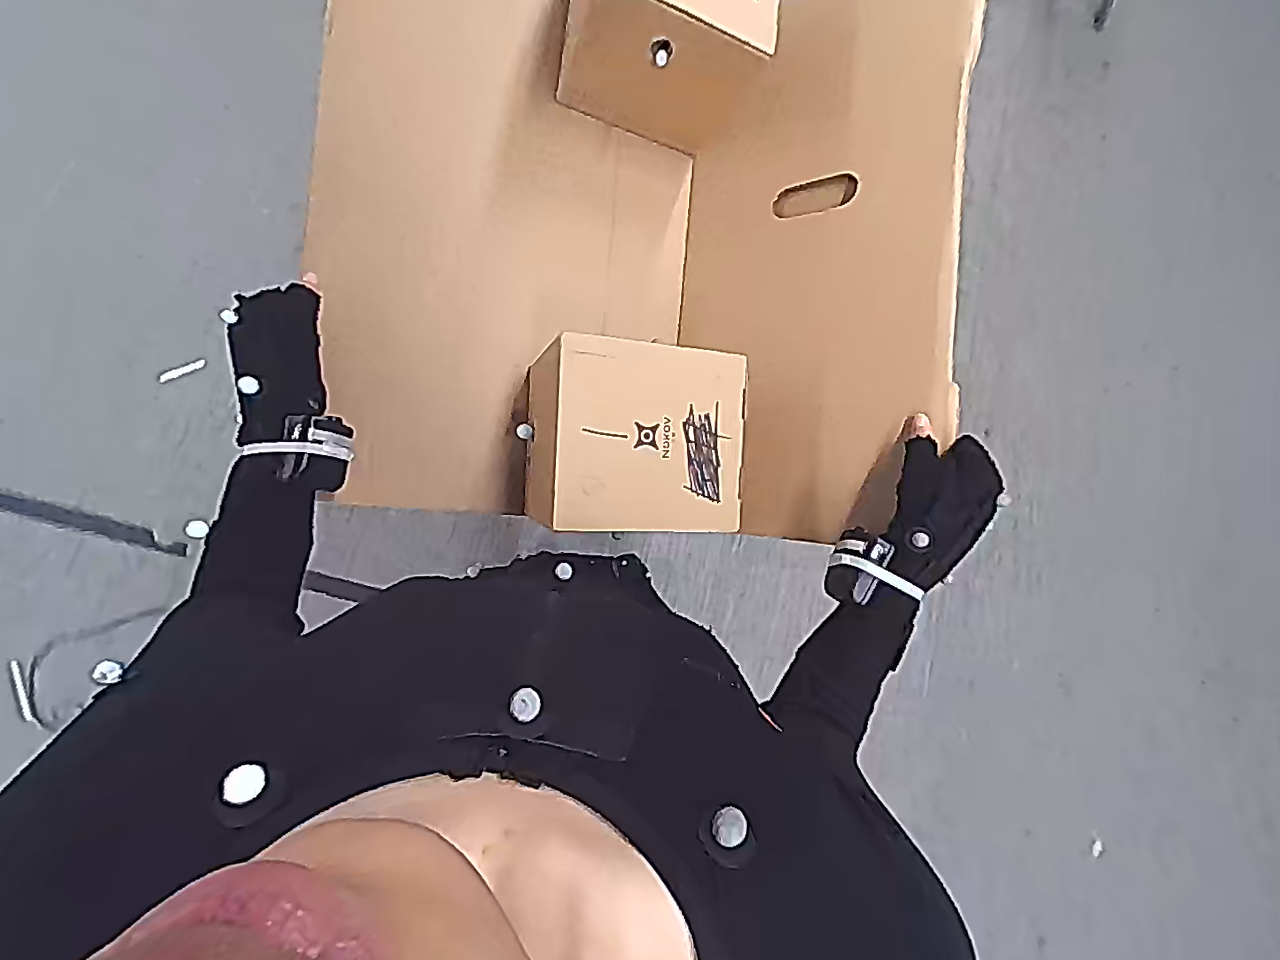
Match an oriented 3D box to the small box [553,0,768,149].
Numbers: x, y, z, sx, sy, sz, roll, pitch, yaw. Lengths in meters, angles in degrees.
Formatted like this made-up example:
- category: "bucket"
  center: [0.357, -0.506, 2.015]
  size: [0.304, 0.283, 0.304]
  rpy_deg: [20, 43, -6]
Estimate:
- category: "small box"
  center: [0.016, -0.486, 0.560]
  size: [0.179, 0.176, 0.168]
  rpy_deg: [8, 87, -21]
